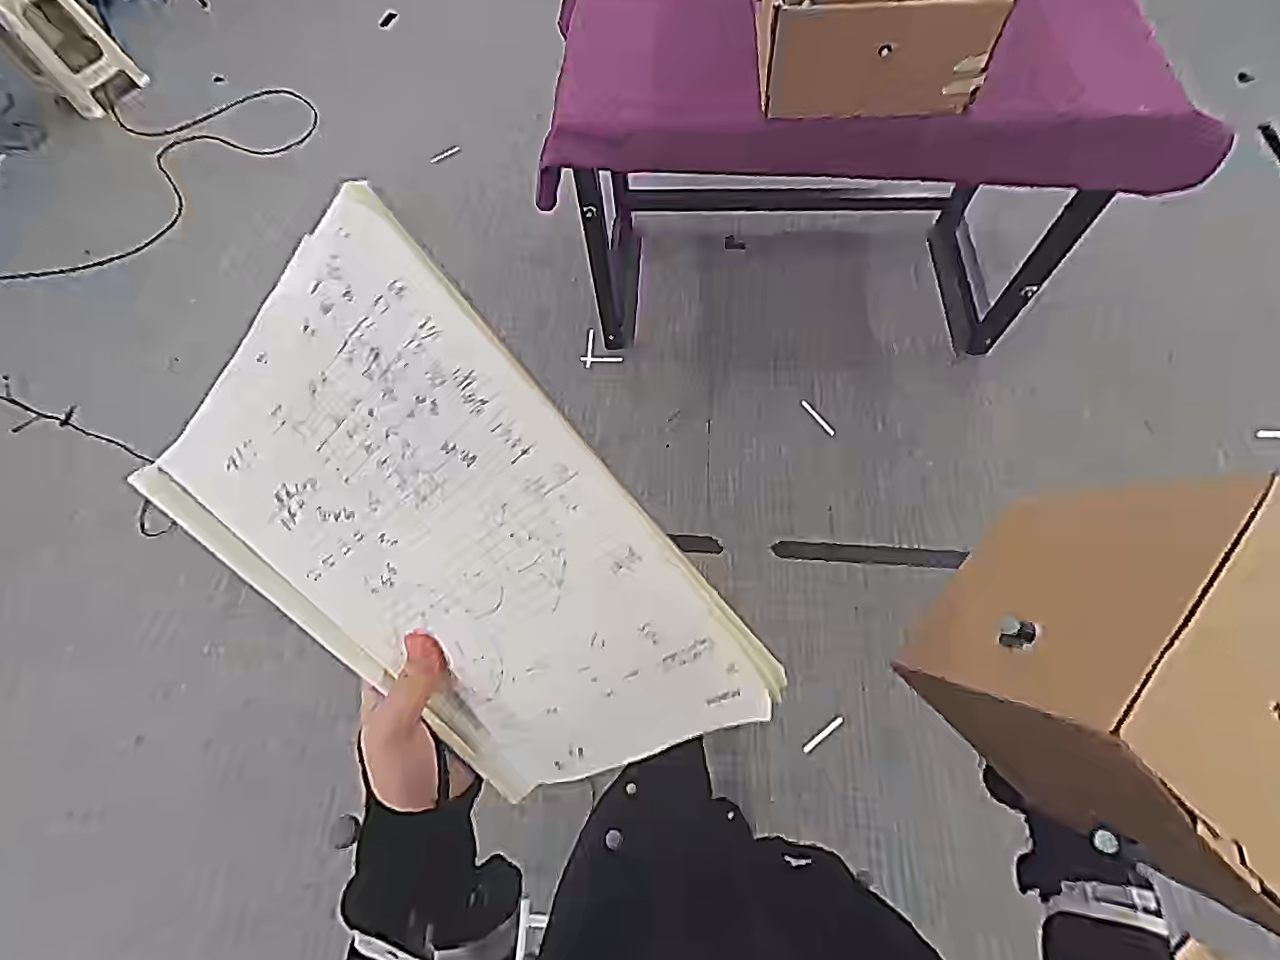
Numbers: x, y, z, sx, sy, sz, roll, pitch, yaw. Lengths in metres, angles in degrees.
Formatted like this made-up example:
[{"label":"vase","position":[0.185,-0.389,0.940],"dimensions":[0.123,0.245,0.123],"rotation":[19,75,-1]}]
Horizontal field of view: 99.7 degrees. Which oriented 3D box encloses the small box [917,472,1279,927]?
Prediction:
[{"label":"small box","position":[0.316,0.121,0.341],"dimensions":[0.168,0.176,0.179],"rotation":[45,77,-3]}]
